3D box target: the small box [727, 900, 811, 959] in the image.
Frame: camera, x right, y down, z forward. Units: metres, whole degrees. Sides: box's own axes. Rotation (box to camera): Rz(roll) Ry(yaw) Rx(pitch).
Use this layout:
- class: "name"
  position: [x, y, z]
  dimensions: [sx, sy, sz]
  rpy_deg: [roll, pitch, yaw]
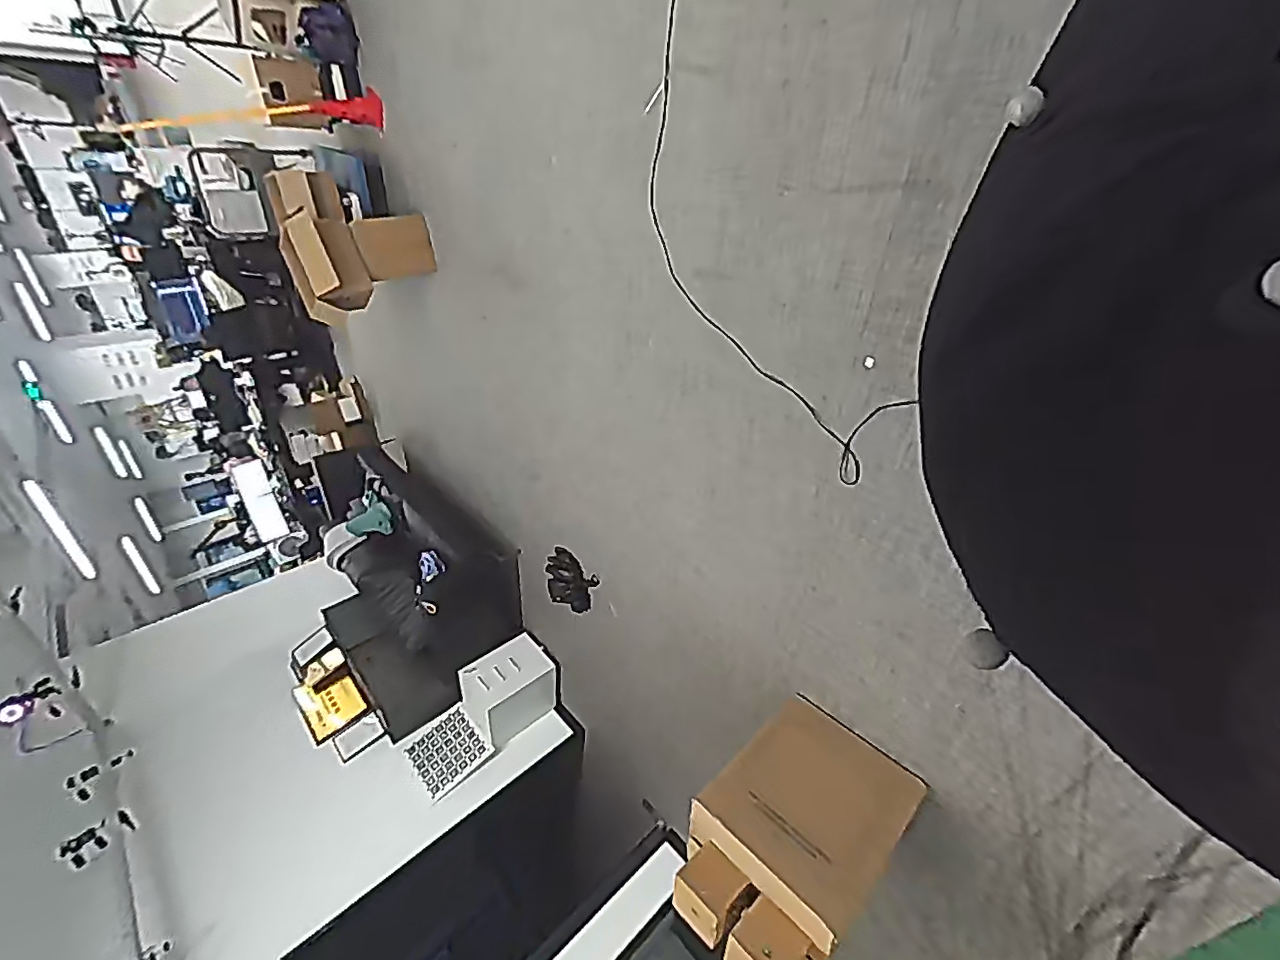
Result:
- class: "small box"
  position: [0.379, 1.410, 1.600]
  dimensions: [0.179, 0.176, 0.168]
  rpy_deg: [26, 123, 41]

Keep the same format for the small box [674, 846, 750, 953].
- class: "small box"
  position: [0.233, 1.338, 1.738]
  dimensions: [0.179, 0.176, 0.168]
  rpy_deg: [25, 121, 42]
